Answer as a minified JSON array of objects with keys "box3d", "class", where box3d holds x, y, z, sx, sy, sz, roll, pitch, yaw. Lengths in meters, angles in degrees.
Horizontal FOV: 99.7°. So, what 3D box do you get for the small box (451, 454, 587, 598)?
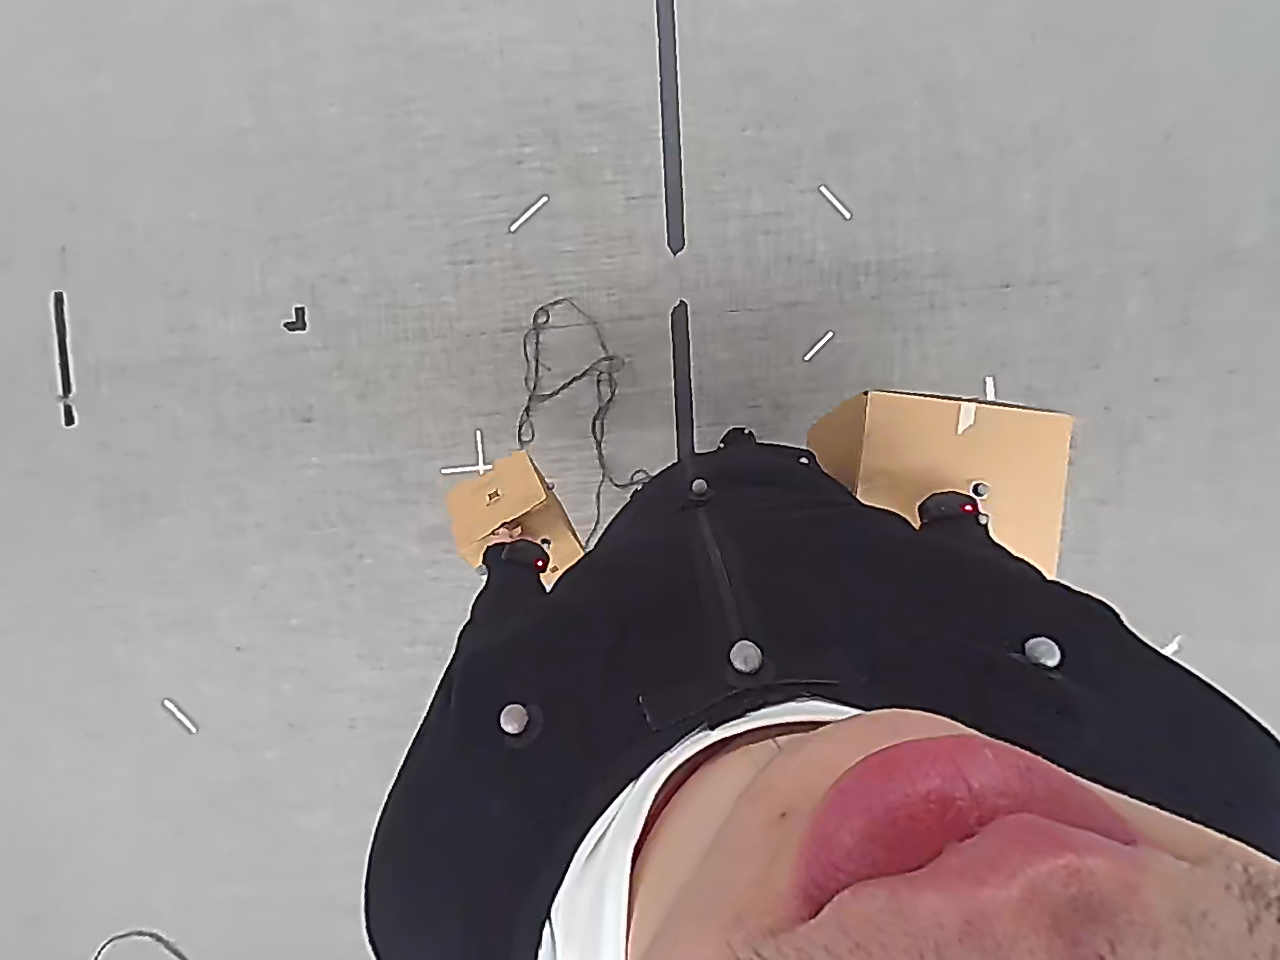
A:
[{"box3d":[-0.218,0.090,0.984,0.168,0.179,0.176,-31,128,-6],"class":"small box"}]
